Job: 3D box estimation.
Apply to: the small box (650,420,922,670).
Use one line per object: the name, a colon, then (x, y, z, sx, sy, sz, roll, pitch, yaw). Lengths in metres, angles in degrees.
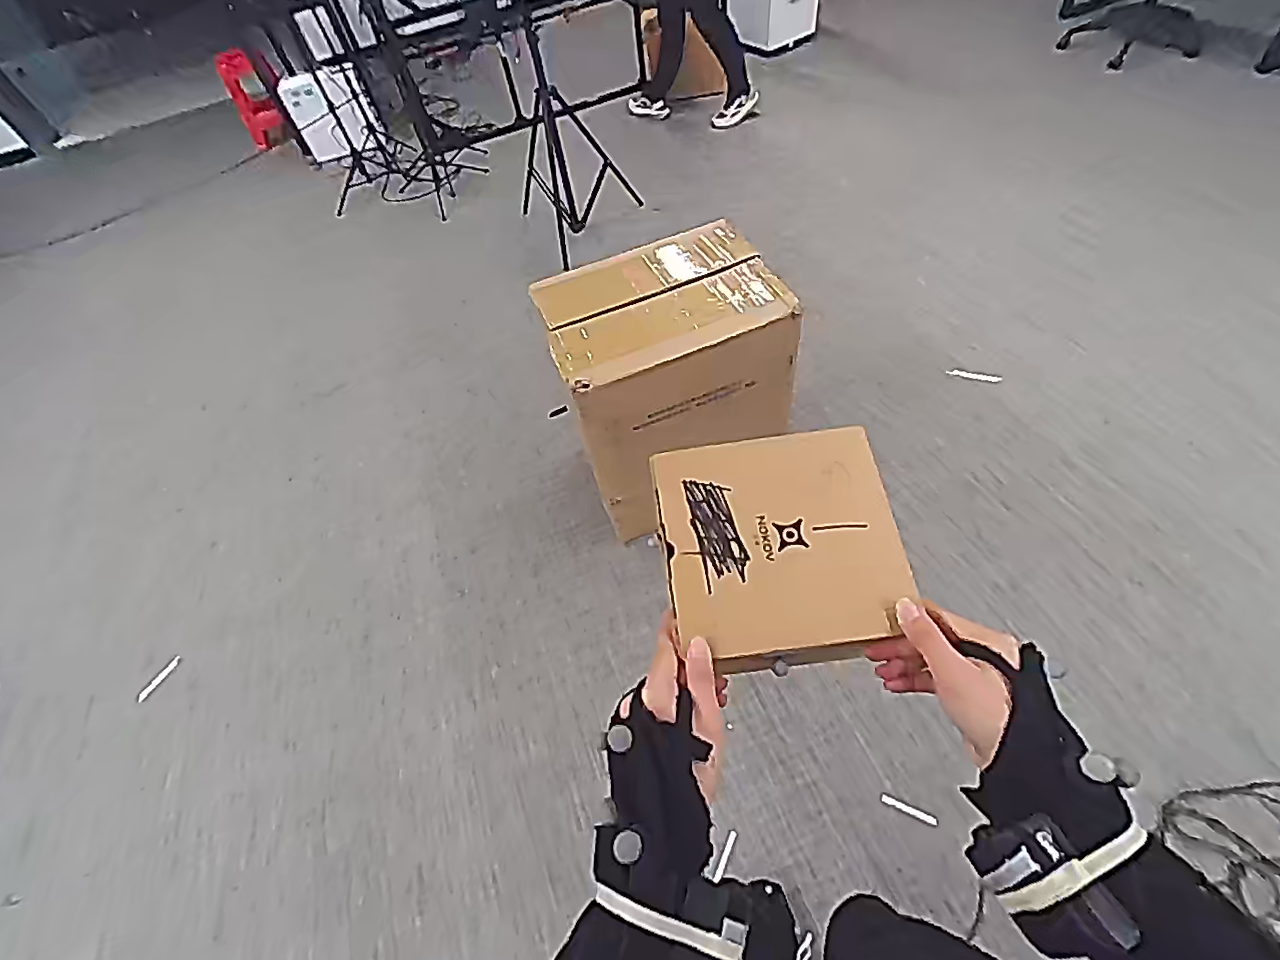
small box: (0.109, 0.069, 0.481, 0.179, 0.176, 0.168, -8, 65, 1)
